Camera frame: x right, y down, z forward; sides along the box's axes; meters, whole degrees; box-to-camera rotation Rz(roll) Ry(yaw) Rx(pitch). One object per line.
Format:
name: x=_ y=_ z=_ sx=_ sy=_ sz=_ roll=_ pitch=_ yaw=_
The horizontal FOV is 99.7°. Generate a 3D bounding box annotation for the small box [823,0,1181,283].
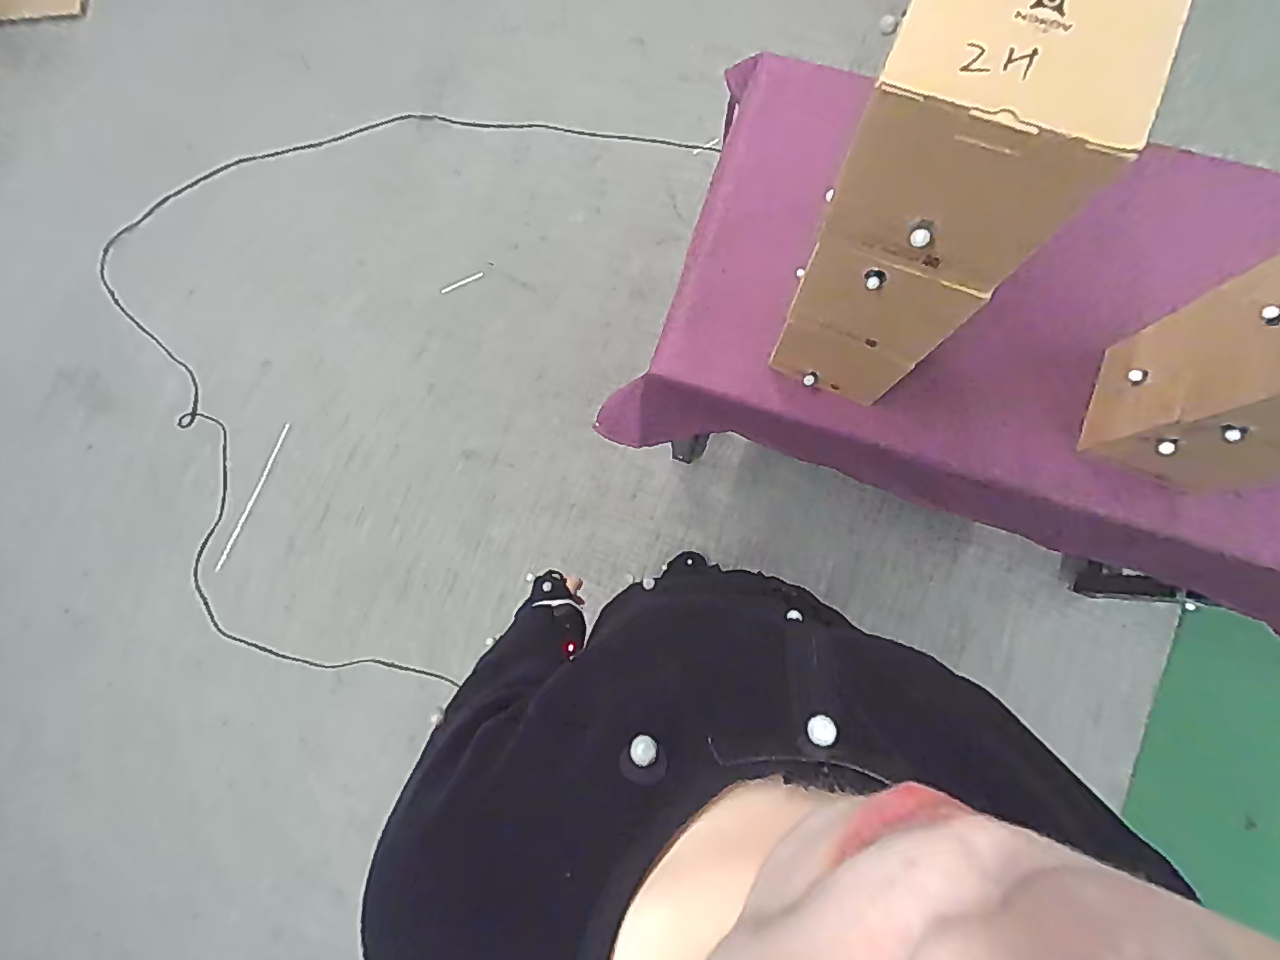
small box: x=0.266 y=-0.296 z=0.434 sx=0.168 sy=0.176 sz=0.179 roll=22 pitch=83 yaw=9

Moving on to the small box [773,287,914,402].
small box: x=0.300 y=-0.236 z=0.756 sx=0.168 sy=0.176 sz=0.179 roll=24 pitch=84 yaw=9

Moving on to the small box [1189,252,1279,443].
small box: x=0.713 y=-0.135 z=0.537 sx=0.168 sy=0.176 sz=0.179 roll=18 pitch=81 yaw=7

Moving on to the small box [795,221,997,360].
small box: x=0.286 y=-0.263 z=0.594 sx=0.168 sy=0.176 sz=0.179 roll=23 pitch=82 yaw=10
